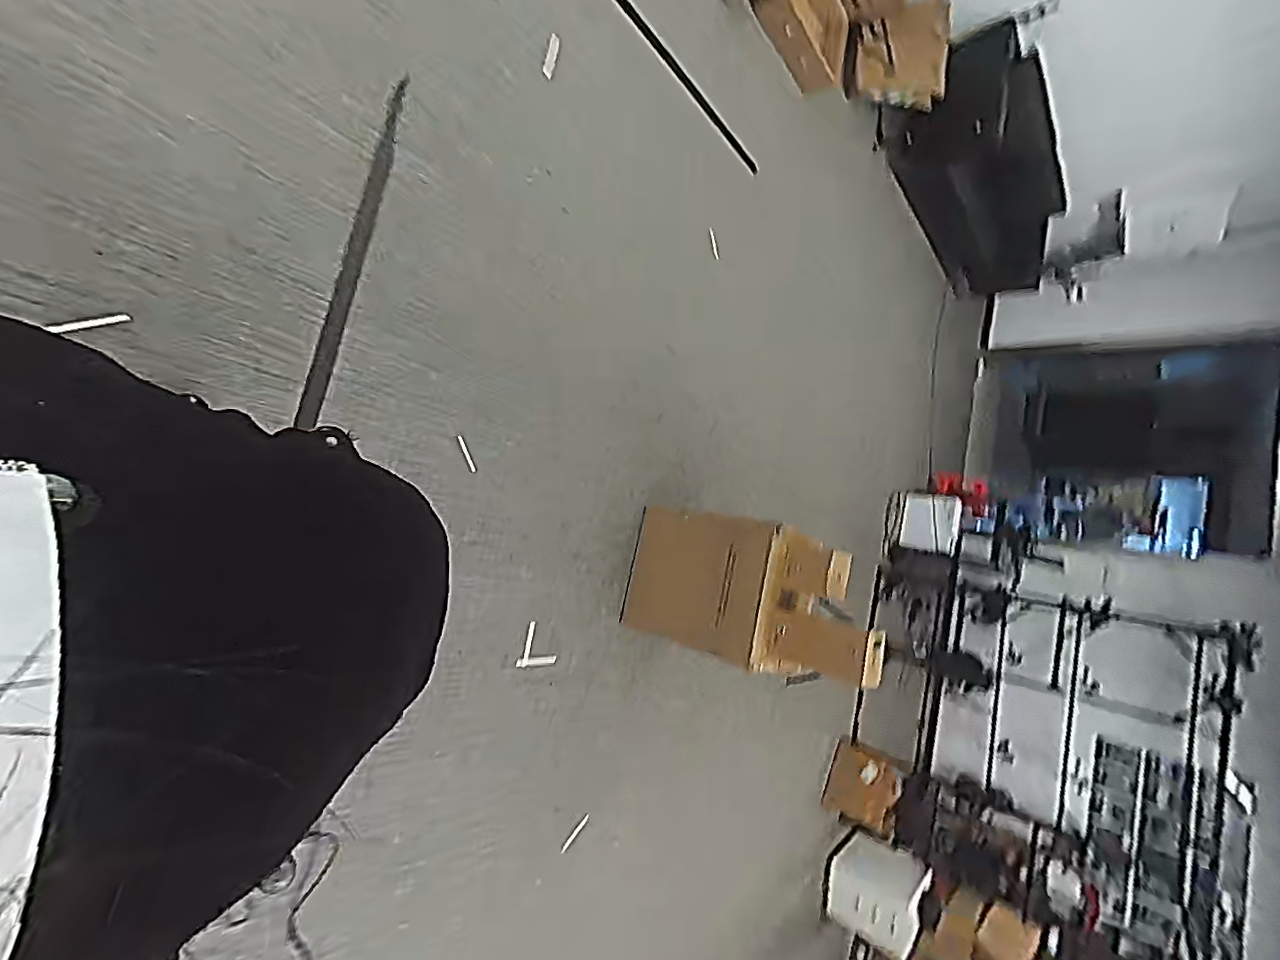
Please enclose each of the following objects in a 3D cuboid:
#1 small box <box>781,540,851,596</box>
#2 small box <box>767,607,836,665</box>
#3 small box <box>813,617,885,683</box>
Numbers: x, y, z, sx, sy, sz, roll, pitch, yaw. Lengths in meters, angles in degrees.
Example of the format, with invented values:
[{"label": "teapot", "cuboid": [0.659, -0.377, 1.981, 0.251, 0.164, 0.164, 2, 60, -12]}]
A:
[{"label": "small box", "cuboid": [0.633, 0.314, 1.942, 0.179, 0.176, 0.168, 17, 83, -46]}, {"label": "small box", "cuboid": [0.572, 0.547, 1.906, 0.179, 0.176, 0.168, 19, 78, -45]}, {"label": "small box", "cuboid": [0.691, 0.558, 1.792, 0.168, 0.176, 0.179, 19, 79, -46]}]
